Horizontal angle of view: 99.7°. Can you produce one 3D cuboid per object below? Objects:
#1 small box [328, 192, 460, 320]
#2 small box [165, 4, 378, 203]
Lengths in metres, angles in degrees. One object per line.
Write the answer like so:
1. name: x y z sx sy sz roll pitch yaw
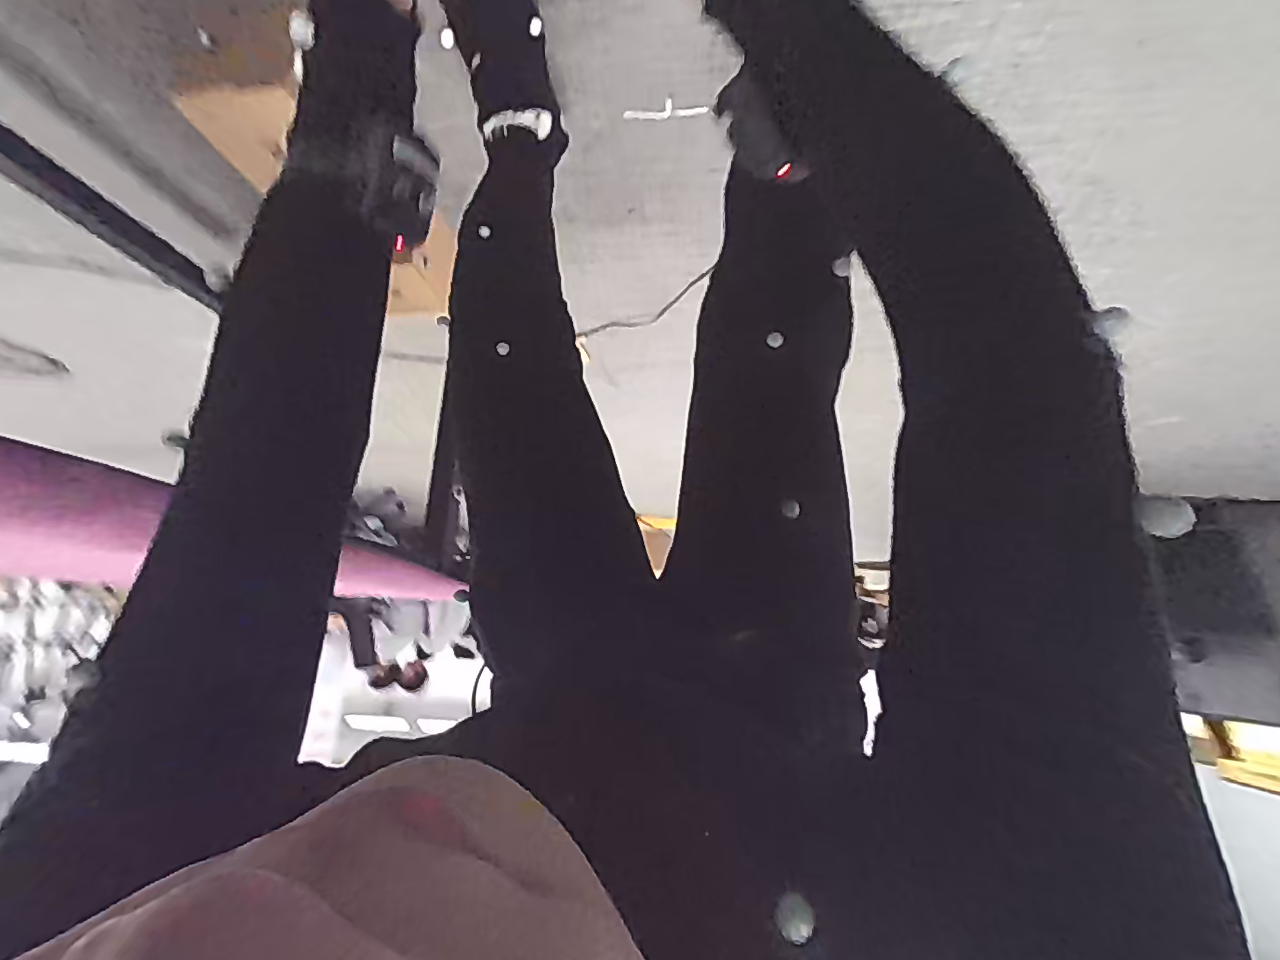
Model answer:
1. small box: -0.478 -0.441 1.080 0.168 0.176 0.179 0 163 8
2. small box: -0.504 -0.531 0.769 0.168 0.176 0.179 1 165 7
